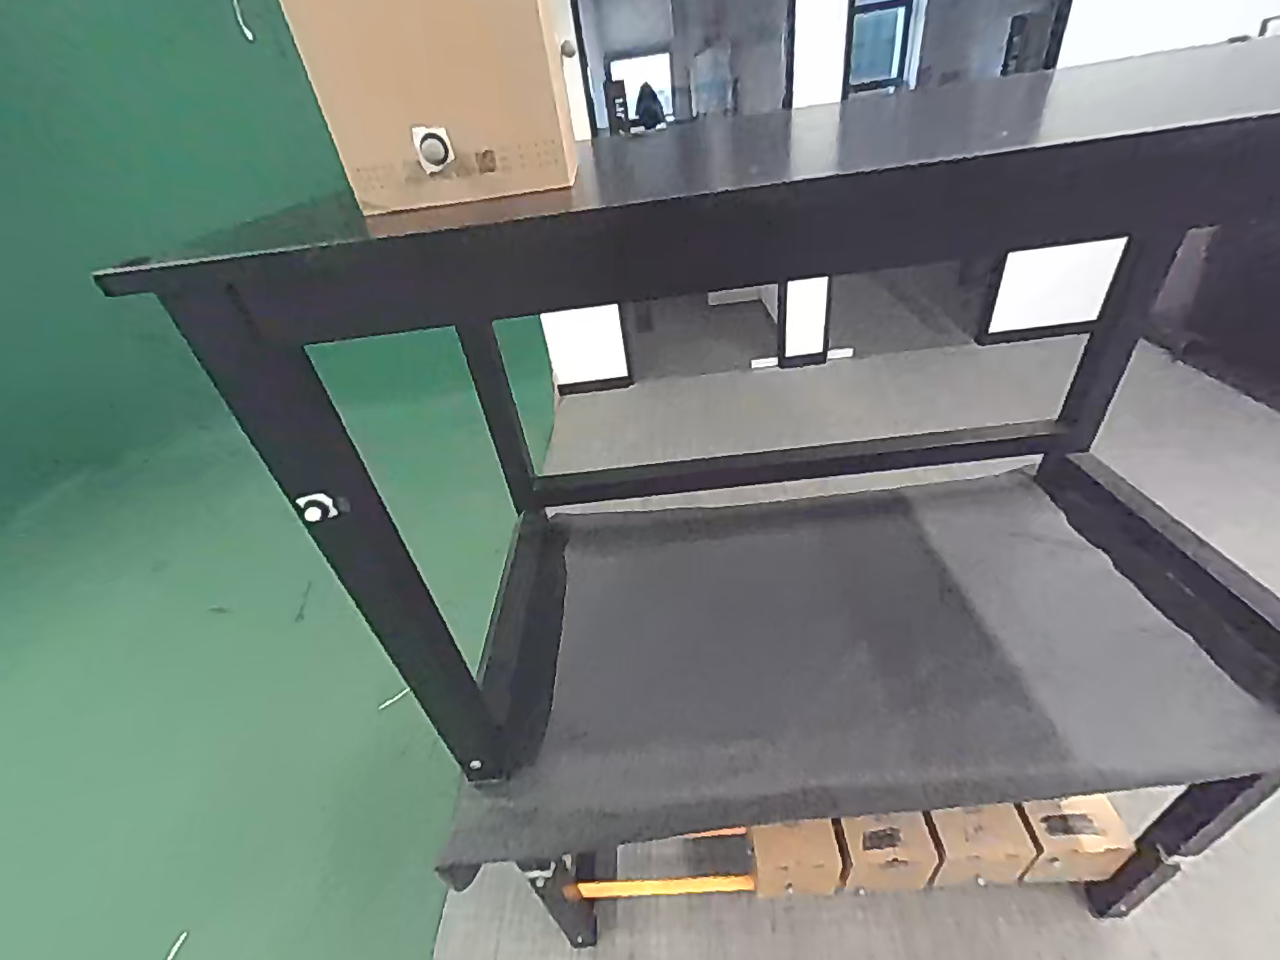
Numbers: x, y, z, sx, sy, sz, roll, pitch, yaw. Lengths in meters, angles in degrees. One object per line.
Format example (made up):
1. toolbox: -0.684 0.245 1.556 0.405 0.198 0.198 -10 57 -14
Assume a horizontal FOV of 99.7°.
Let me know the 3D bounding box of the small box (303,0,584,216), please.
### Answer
1. small box: -0.144 -0.328 0.447 0.168 0.176 0.179 -9 35 1
